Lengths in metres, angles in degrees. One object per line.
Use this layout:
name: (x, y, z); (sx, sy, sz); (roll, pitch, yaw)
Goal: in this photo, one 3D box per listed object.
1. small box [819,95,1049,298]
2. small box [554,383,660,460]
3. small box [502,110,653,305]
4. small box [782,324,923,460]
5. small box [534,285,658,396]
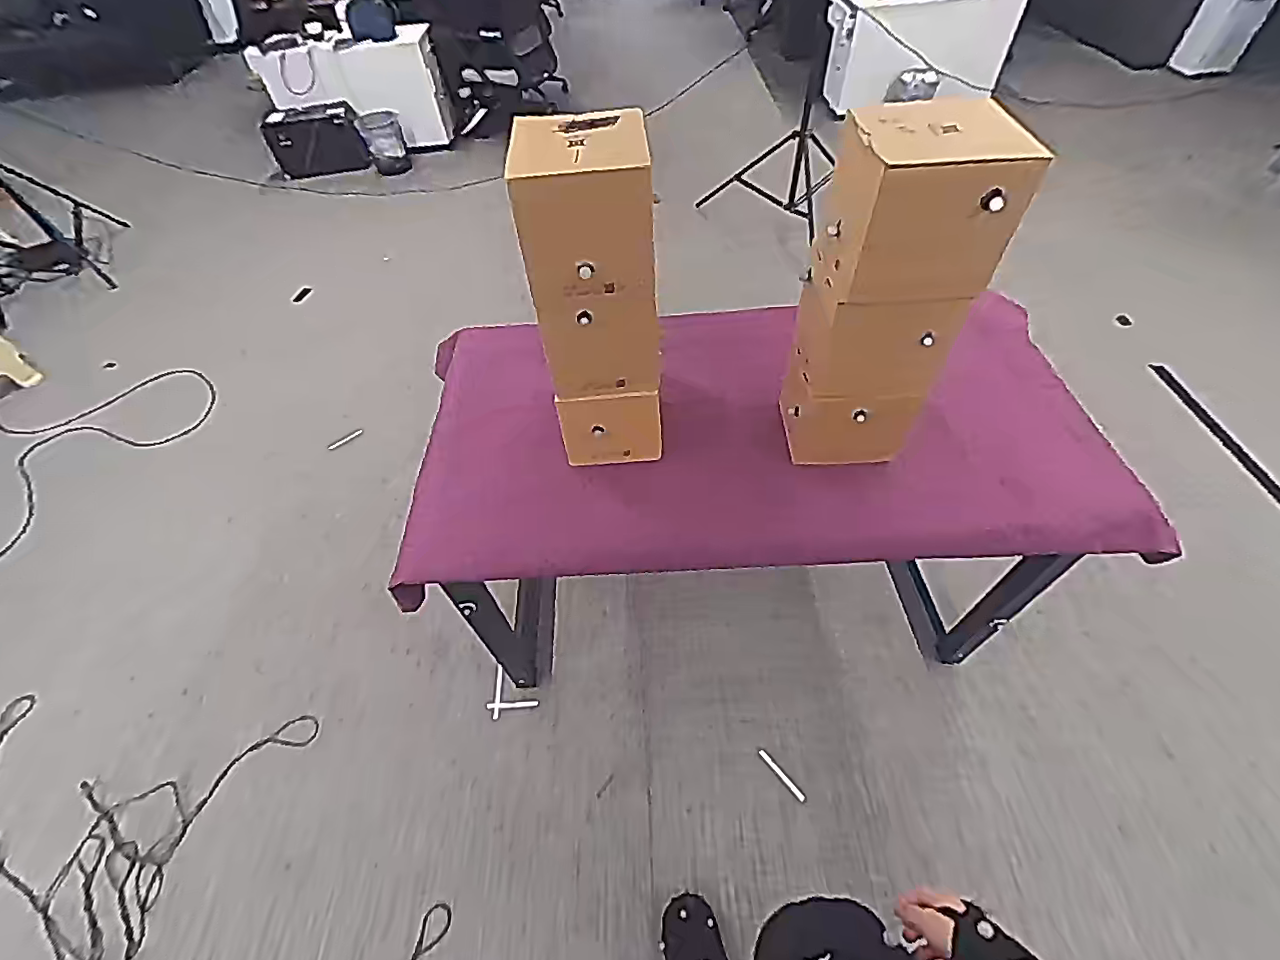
small box: (0.340, -0.345, 0.669); (0.179, 0.176, 0.168); (-3, 52, 2)
small box: (-0.053, -0.147, 0.963); (0.168, 0.176, 0.179); (-5, 51, 1)
small box: (-0.072, -0.354, 0.708); (0.168, 0.176, 0.179); (-5, 52, 0)
small box: (0.349, -0.146, 0.932); (0.179, 0.176, 0.168); (-2, 53, 2)
small box: (-0.062, -0.254, 0.839); (0.168, 0.176, 0.179); (-6, 51, 0)
